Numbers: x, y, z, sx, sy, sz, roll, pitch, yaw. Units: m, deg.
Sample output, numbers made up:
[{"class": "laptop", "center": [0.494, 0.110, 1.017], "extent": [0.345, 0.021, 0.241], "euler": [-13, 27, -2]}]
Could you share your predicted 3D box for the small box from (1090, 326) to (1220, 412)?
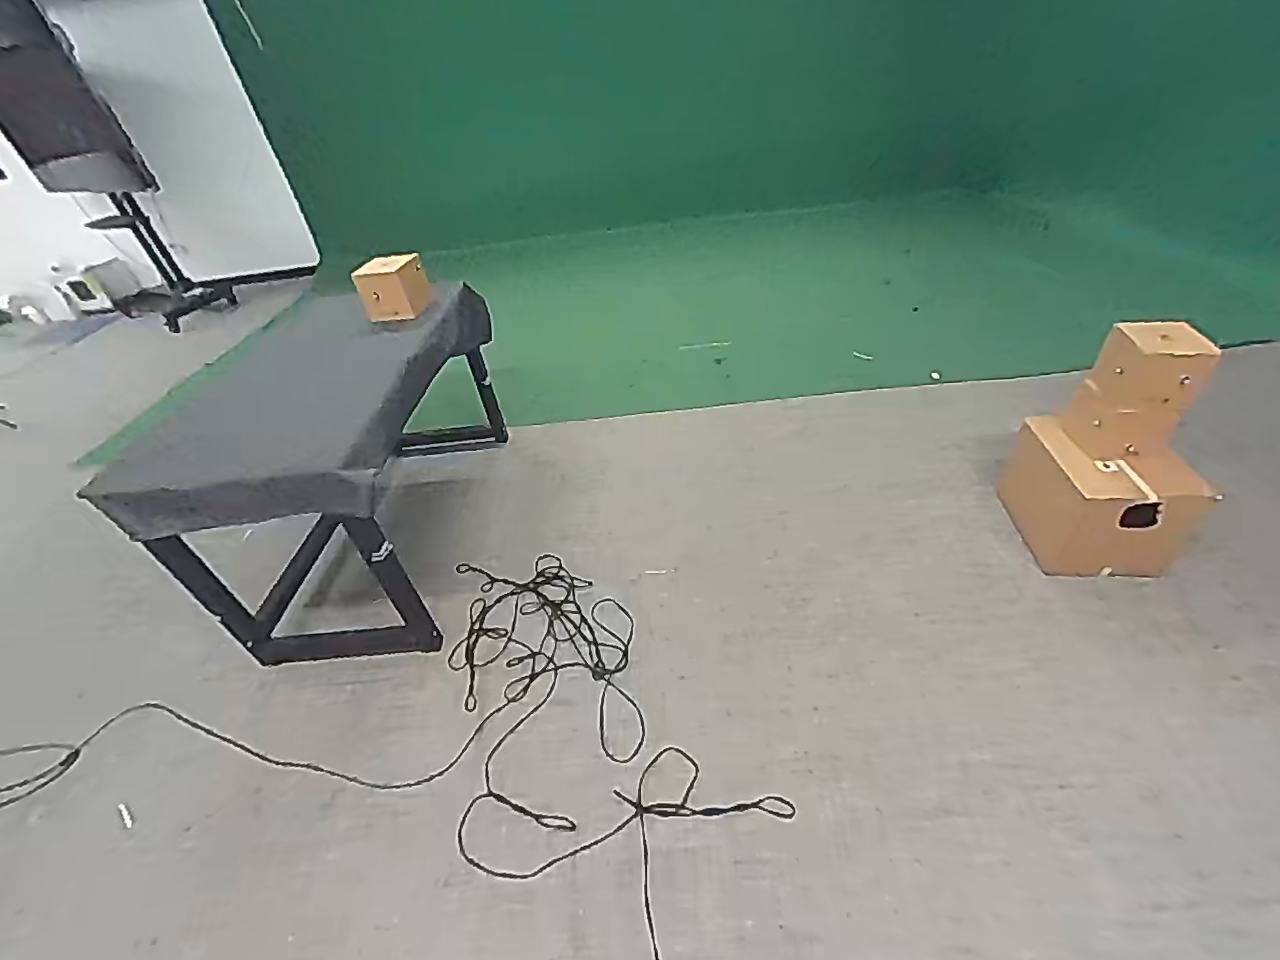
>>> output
[{"class": "small box", "center": [1.355, -0.294, 1.438], "extent": [0.168, 0.176, 0.179], "euler": [3, 40, 12]}]

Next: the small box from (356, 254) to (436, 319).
[{"class": "small box", "center": [-0.842, -0.670, 1.889], "extent": [0.168, 0.176, 0.179], "euler": [-1, 39, 10]}]

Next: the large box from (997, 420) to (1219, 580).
[{"class": "large box", "center": [1.377, 0.054, 1.656], "extent": [0.320, 0.320, 0.408], "euler": [-1, 40, 9]}]
